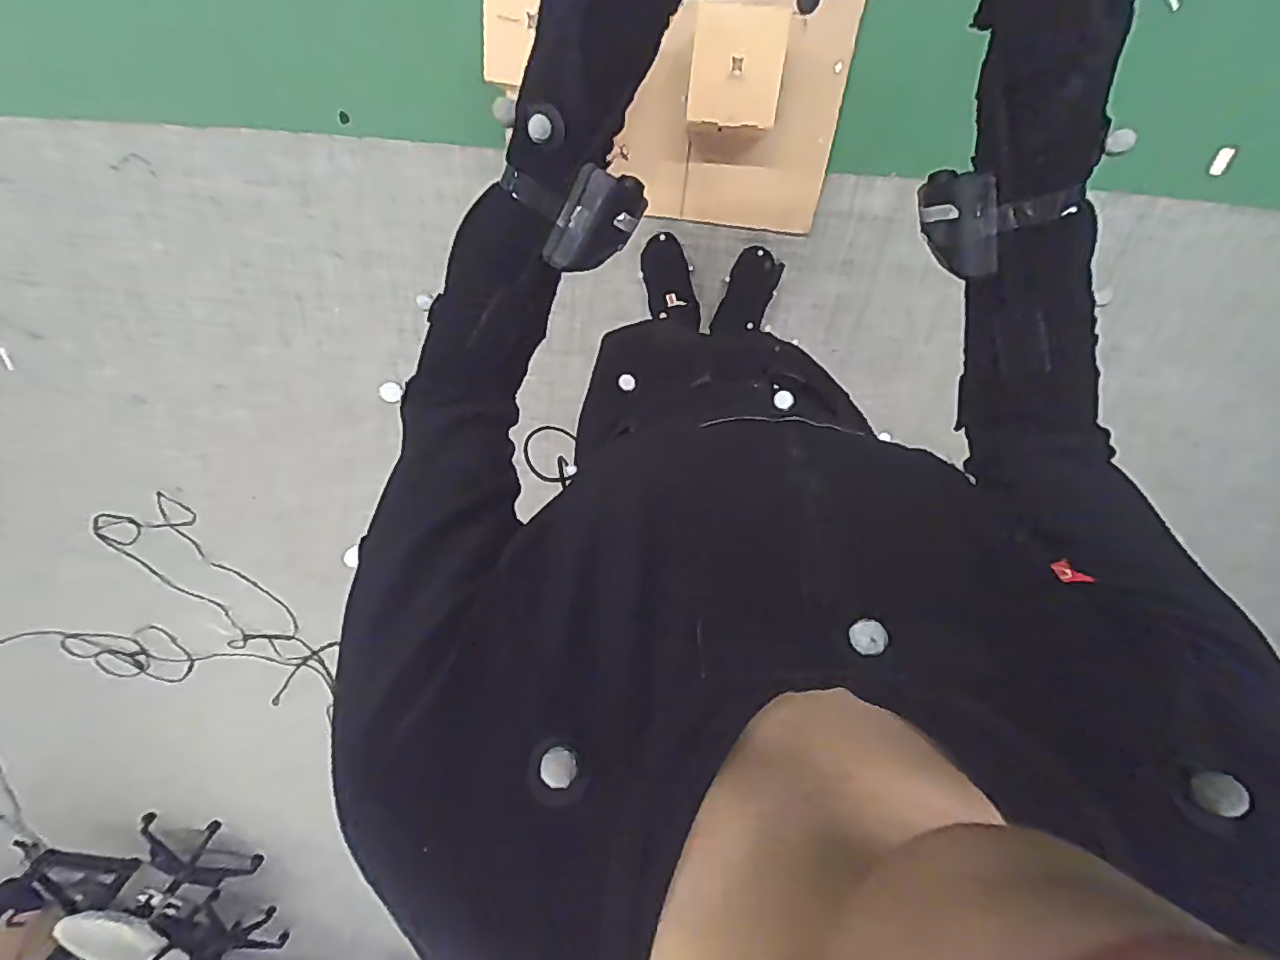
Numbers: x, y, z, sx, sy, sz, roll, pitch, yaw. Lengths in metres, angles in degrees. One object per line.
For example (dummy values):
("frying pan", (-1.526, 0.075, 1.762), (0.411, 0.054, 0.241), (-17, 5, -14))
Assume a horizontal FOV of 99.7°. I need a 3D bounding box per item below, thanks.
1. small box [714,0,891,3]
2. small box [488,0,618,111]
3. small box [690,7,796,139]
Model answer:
("small box", (0.114, -0.388, 0.291), (0.168, 0.176, 0.179), (4, 124, 6))
("small box", (-0.138, -0.727, 0.896), (0.179, 0.176, 0.168), (11, 120, 2))
("small box", (0.186, -0.766, 1.033), (0.168, 0.176, 0.179), (6, 120, 3))
